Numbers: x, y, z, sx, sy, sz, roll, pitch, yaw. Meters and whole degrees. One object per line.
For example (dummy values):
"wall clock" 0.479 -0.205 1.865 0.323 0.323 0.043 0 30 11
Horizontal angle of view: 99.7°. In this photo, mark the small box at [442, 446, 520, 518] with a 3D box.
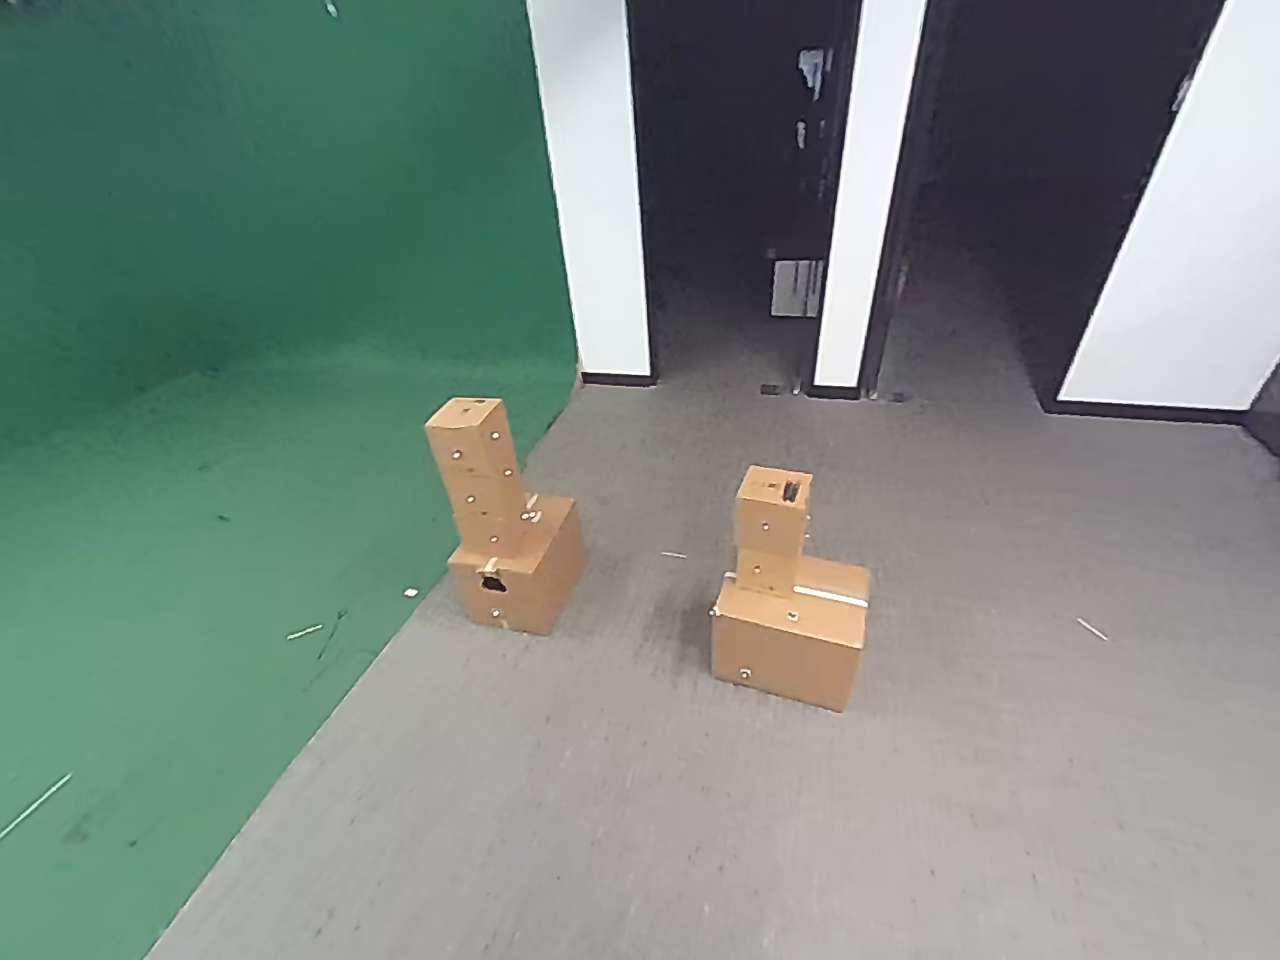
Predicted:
"small box" -0.491 0.004 1.708 0.168 0.176 0.179 3 35 10

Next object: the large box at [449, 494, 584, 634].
"large box" -0.432 0.300 1.989 0.320 0.320 0.408 6 36 14

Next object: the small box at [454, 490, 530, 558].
"small box" -0.483 0.141 1.798 0.179 0.176 0.168 4 36 14

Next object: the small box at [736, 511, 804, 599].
"small box" 0.381 0.221 1.589 0.168 0.176 0.179 10 36 19

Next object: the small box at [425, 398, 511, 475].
"small box" -0.501 -0.129 1.611 0.168 0.176 0.179 4 37 12
